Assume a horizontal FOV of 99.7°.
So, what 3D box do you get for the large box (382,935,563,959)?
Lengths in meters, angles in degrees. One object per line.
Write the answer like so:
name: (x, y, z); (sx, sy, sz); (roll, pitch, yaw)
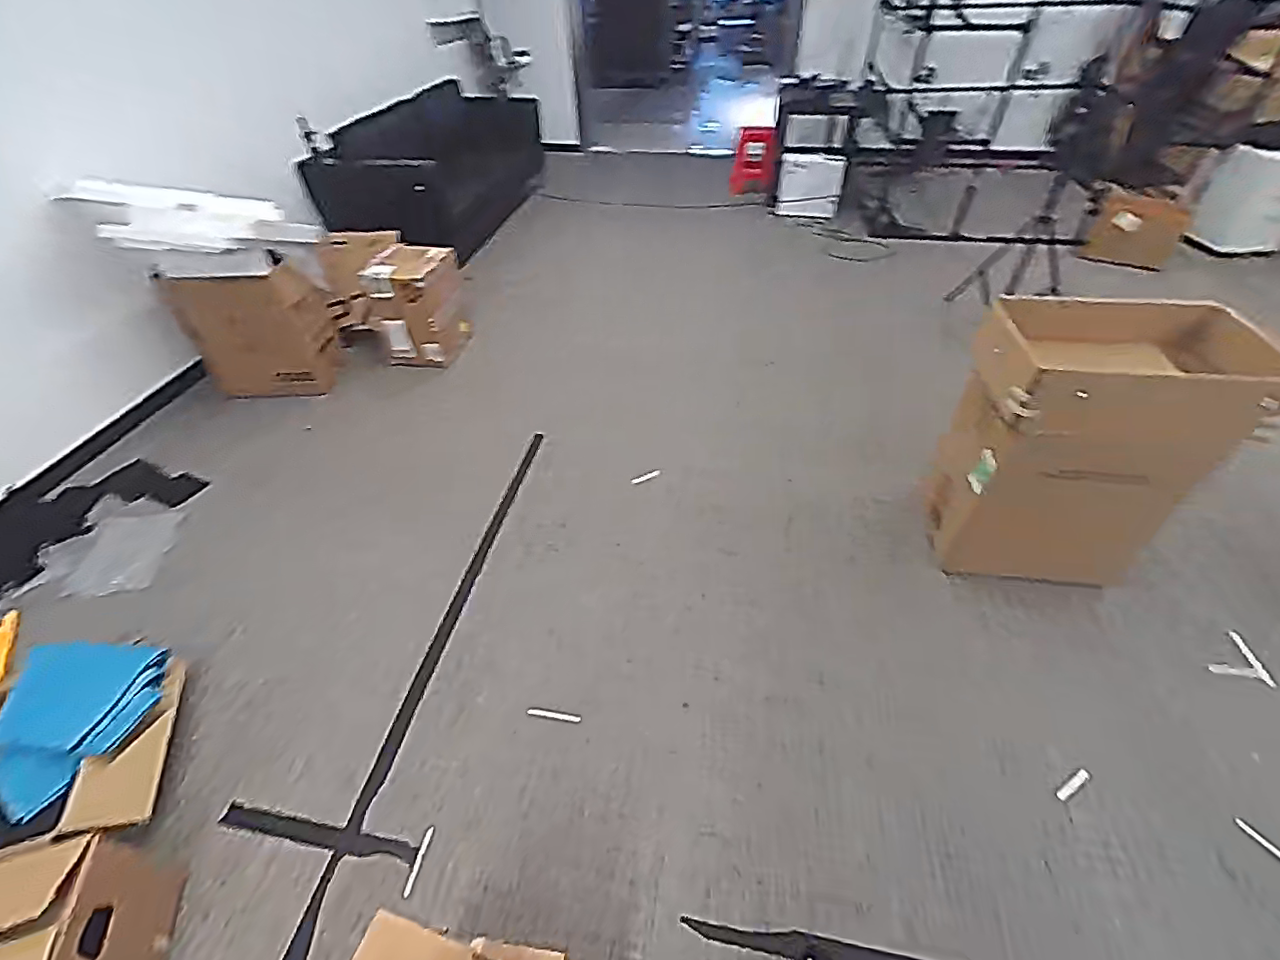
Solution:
large box: (-0.301, 1.053, 0.899); (0.320, 0.320, 0.408); (3, 43, 4)
